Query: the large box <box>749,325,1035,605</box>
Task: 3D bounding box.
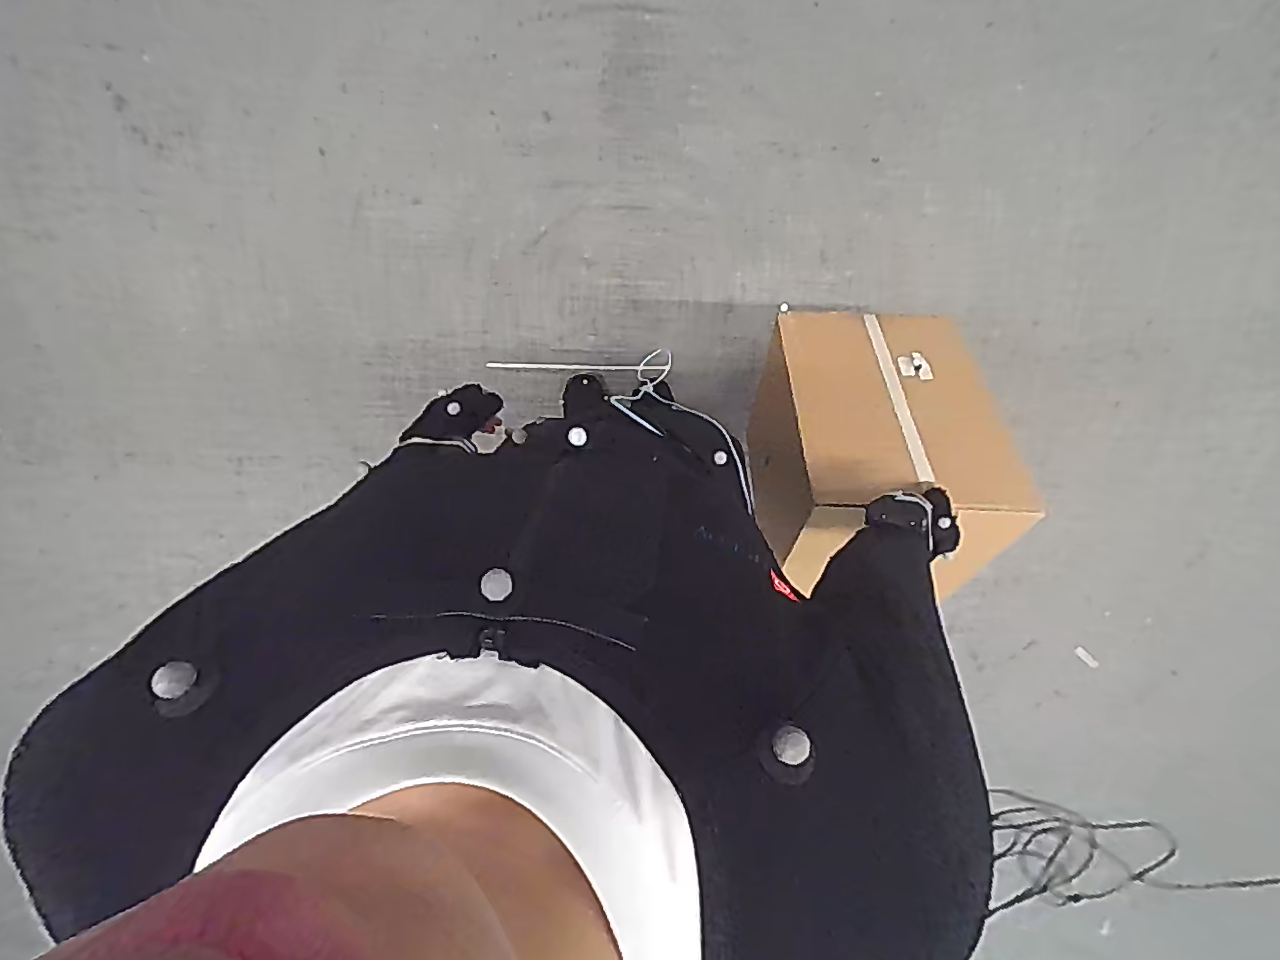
[{"bbox_3d":[0.387,-0.021,0.966,0.320,0.408,0.320,2,143,0],"label":"large box"}]
